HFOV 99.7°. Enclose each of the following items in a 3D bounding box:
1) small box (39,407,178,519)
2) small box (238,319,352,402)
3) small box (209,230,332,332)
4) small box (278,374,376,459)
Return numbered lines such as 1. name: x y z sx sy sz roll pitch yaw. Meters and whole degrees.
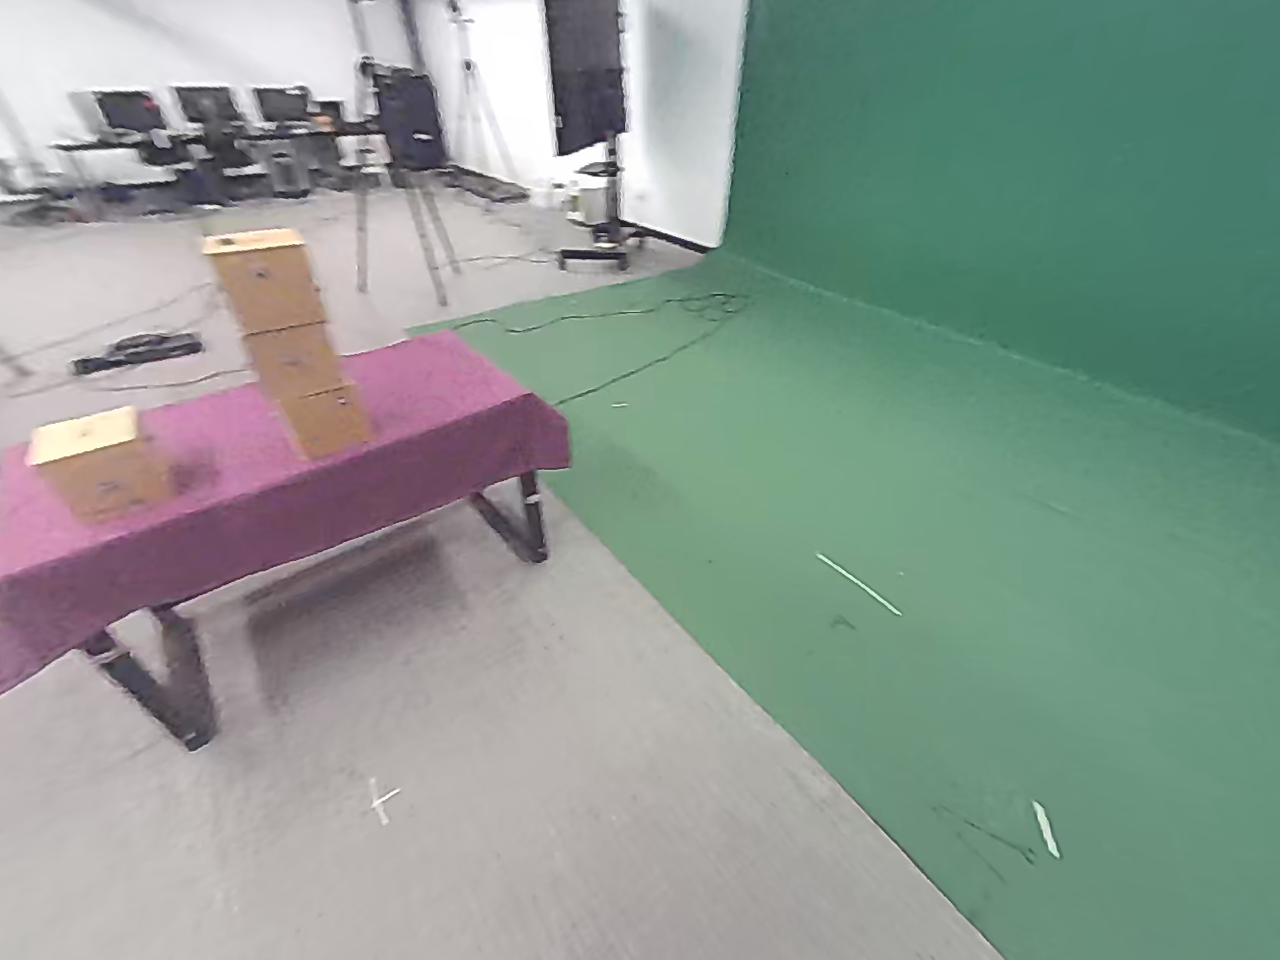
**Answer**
1. small box: -1.169 -0.033 1.204 0.168 0.176 0.179 -24 43 -29
2. small box: -0.820 -0.306 1.291 0.179 0.176 0.168 -23 43 -26
3. small box: -0.811 -0.439 1.193 0.179 0.176 0.168 -21 42 -27
4. small box: -0.814 -0.178 1.394 0.179 0.176 0.168 -25 44 -29
